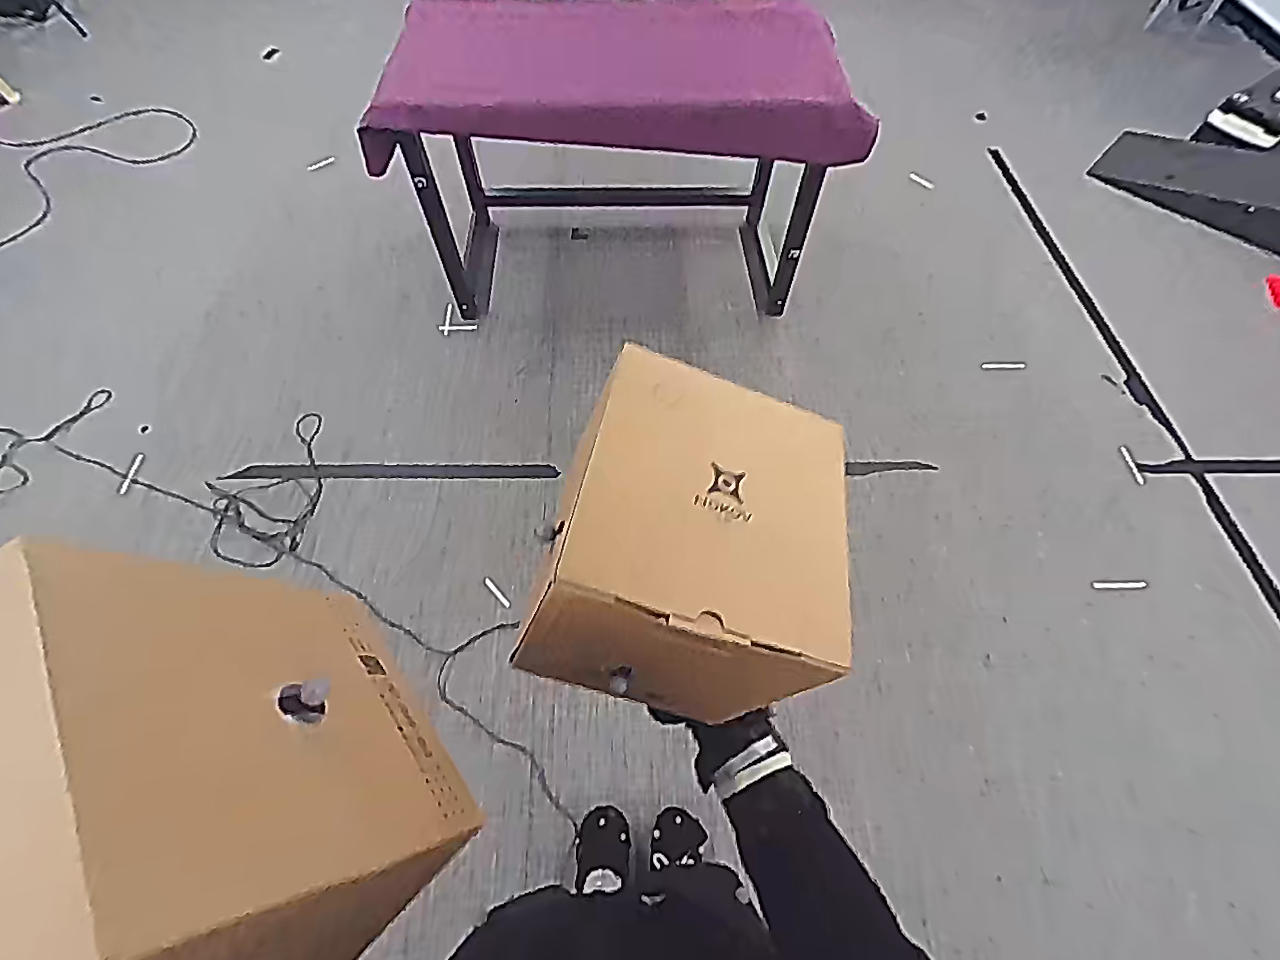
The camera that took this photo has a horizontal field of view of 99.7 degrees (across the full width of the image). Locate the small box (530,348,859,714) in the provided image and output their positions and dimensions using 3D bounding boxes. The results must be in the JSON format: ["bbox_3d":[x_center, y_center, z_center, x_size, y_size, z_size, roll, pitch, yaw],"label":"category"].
[{"bbox_3d":[0.030,0.047,0.385,0.168,0.176,0.179,19,55,-9],"label":"small box"}]

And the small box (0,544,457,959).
[{"bbox_3d":[-0.212,0.161,0.243,0.179,0.176,0.168,-47,62,-2],"label":"small box"}]
